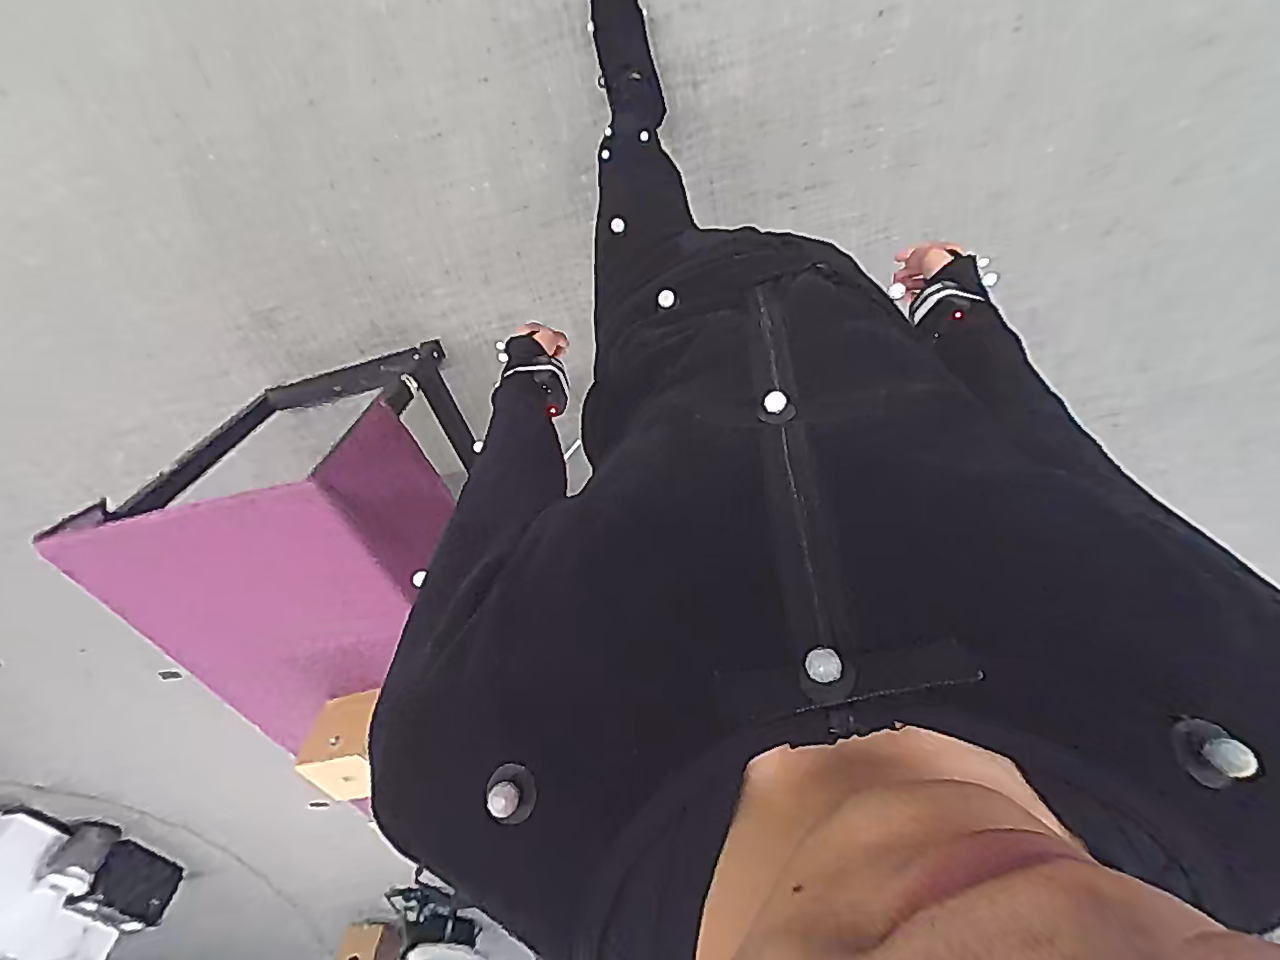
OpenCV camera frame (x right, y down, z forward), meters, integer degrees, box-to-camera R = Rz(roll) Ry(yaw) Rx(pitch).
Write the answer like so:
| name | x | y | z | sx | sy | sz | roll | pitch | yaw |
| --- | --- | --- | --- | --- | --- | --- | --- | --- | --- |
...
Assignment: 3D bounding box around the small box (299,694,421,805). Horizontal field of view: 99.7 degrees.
| name | x | y | z | sx | sy | sz | roll | pitch | yaw |
| --- | --- | --- | --- | --- | --- | --- | --- | --- | --- |
| small box | -0.639 | 0.626 | 1.267 | 0.179 | 0.176 | 0.168 | -15 | 123 | 10 |
